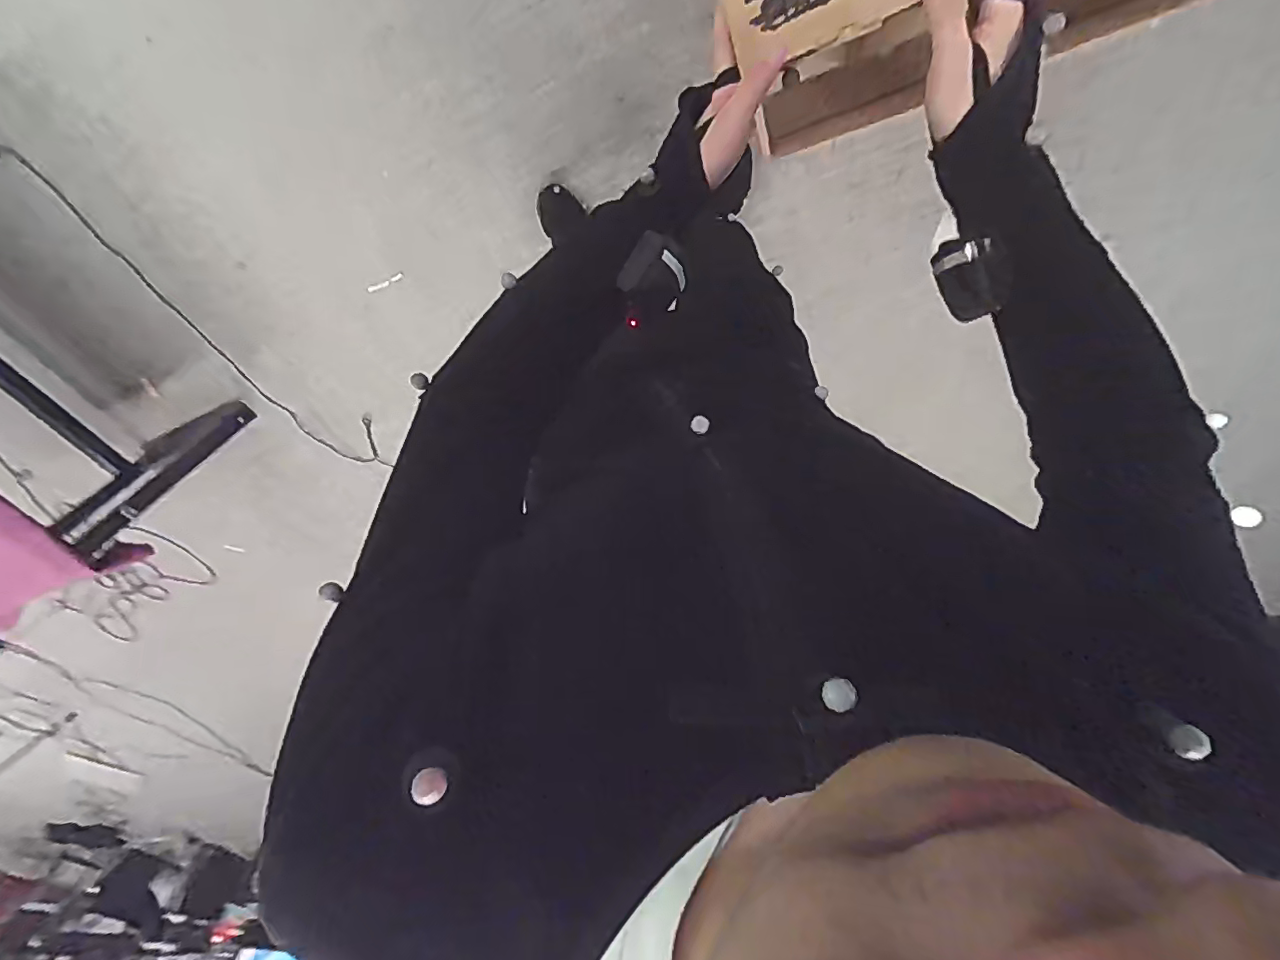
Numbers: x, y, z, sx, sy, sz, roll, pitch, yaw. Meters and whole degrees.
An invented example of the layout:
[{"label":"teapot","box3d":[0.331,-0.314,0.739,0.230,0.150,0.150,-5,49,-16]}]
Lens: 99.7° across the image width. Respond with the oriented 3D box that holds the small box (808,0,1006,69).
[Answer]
[{"label":"small box","box3d":[0.267,-0.563,0.556,0.168,0.176,0.179,-16,125,16]}]
